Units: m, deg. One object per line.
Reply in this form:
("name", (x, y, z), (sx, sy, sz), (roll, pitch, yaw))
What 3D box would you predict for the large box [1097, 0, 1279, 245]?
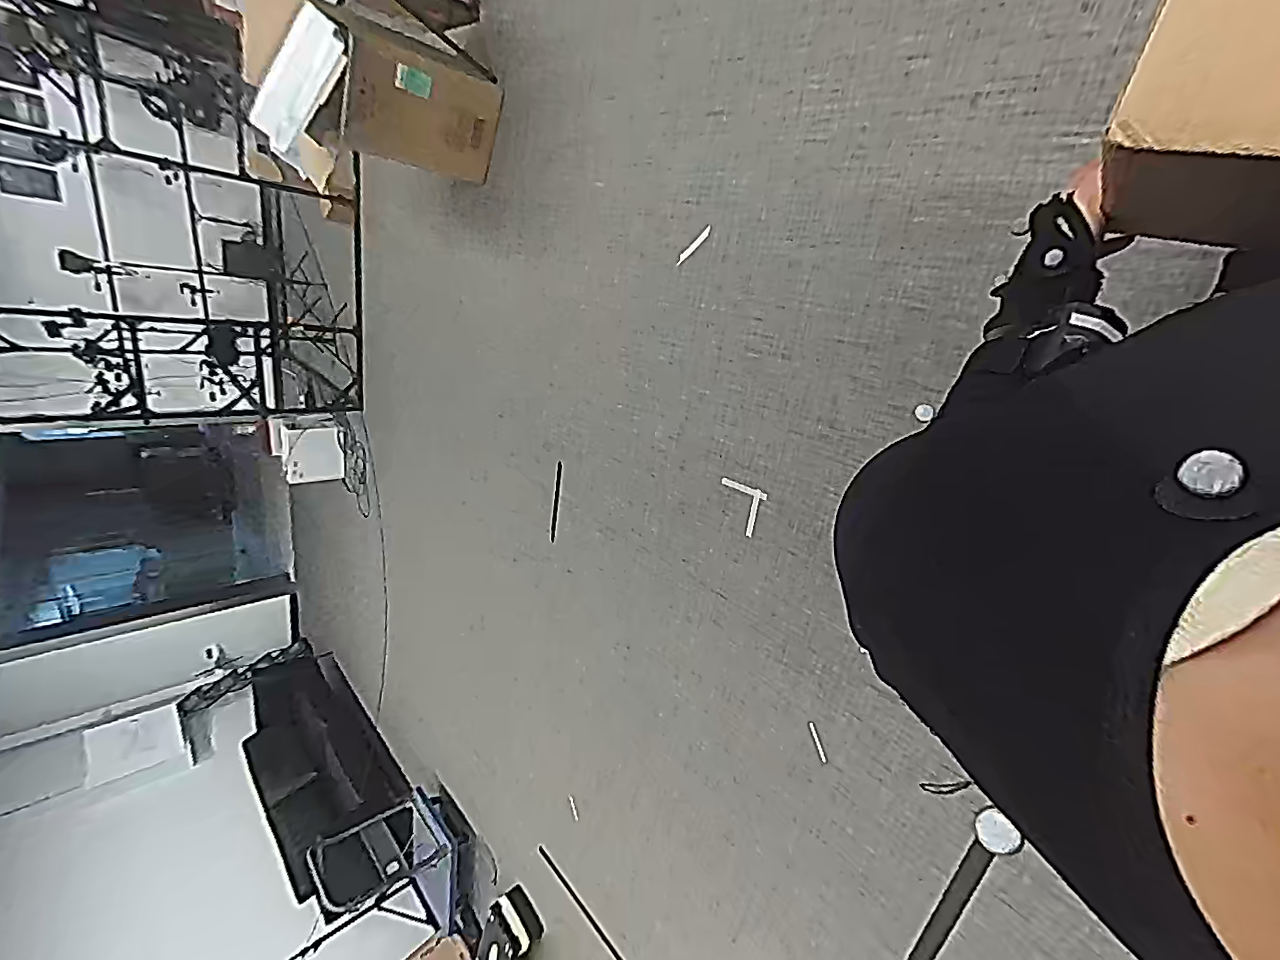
("large box", (0.491, -0.263, 0.210), (0.408, 0.320, 0.320), (27, 119, 31))
